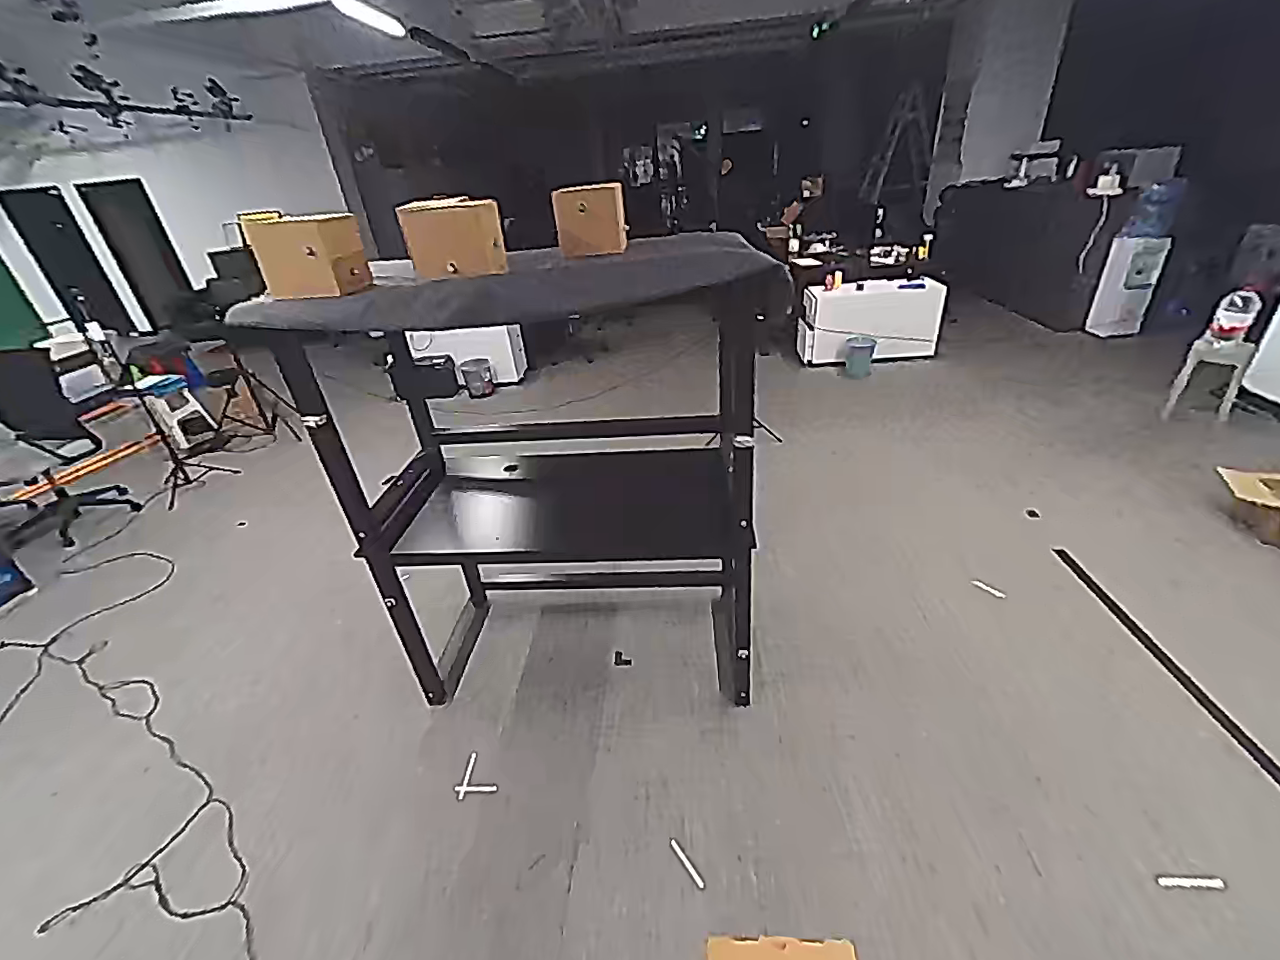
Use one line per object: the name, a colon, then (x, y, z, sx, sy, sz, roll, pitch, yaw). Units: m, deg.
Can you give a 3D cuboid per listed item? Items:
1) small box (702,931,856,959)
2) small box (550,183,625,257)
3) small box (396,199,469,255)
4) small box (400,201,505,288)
small box: (0.153, 0.620, 0.571, 0.168, 0.176, 0.179, -1, 29, 2)
small box: (-0.142, -0.741, 1.542, 0.179, 0.176, 0.168, -3, 31, 5)
small box: (-0.574, -0.708, 1.563, 0.168, 0.176, 0.179, -7, 30, 0)
small box: (-0.437, -0.565, 1.296, 0.179, 0.176, 0.168, -2, 29, 4)
